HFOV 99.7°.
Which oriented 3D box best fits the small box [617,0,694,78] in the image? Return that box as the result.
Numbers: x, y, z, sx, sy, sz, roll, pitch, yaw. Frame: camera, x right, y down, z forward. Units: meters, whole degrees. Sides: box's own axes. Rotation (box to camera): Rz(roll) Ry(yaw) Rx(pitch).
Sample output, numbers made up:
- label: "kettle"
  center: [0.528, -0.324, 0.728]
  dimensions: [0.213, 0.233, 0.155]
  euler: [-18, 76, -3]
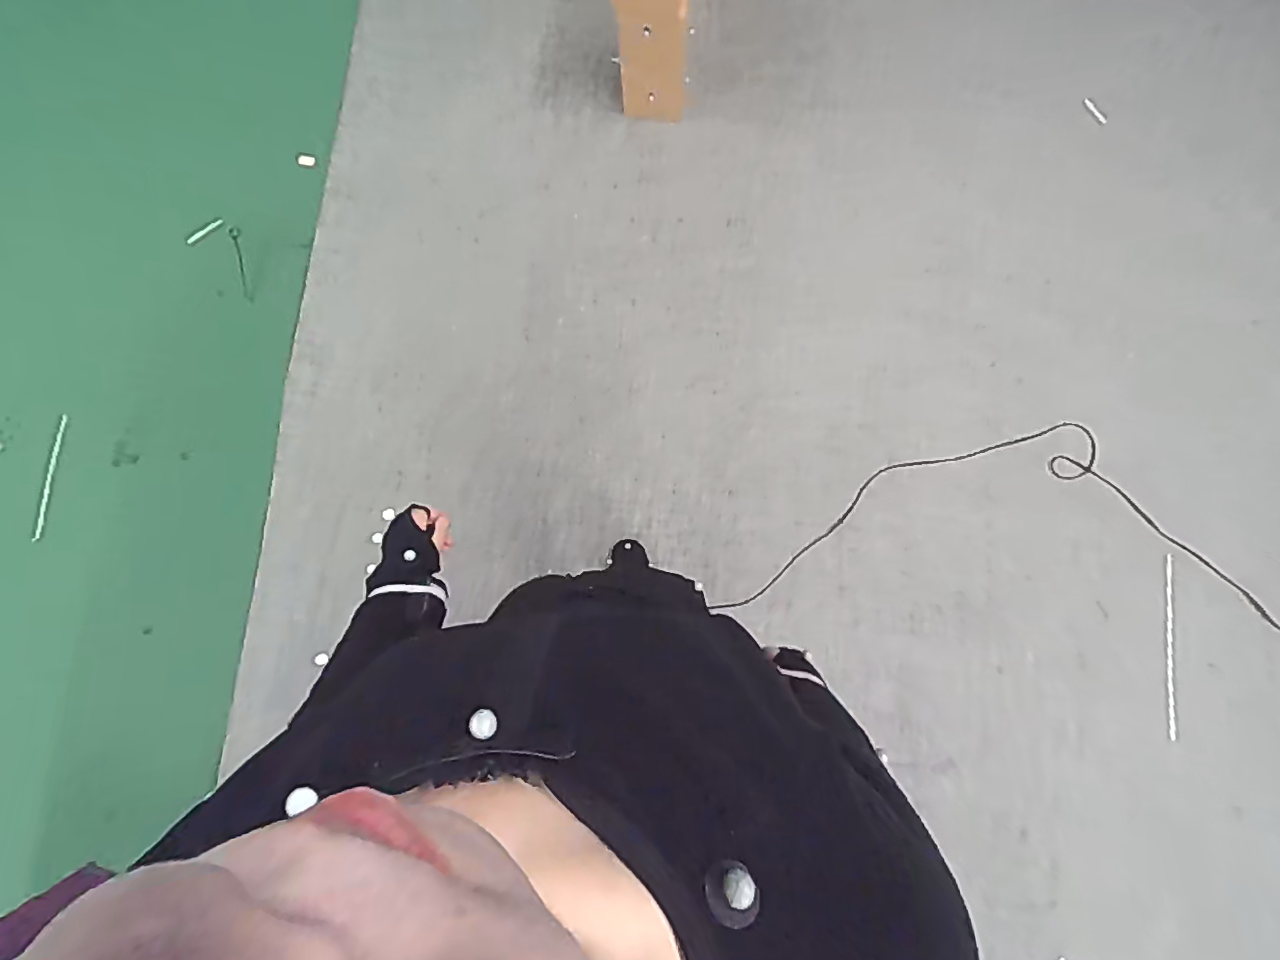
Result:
- label: "small box"
  center: [0.045, -1.203, 1.419]
  dimensions: [0.179, 0.176, 0.168]
  euler: [9, 85, 3]

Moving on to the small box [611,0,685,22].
- label: "small box"
  center: [0.027, -1.222, 1.258]
  dimensions: [0.179, 0.176, 0.168]
  euler: [12, 84, 3]
